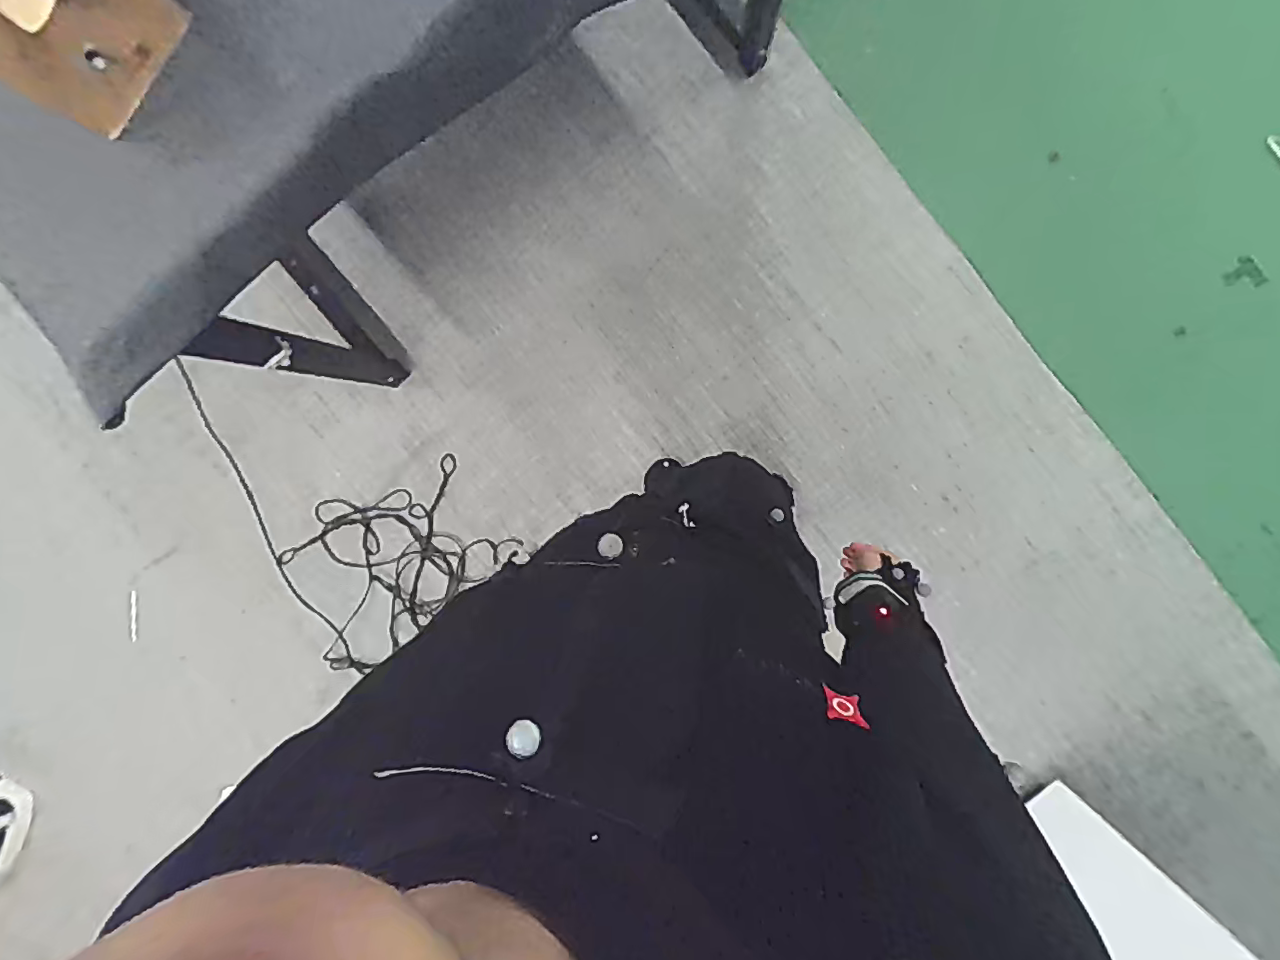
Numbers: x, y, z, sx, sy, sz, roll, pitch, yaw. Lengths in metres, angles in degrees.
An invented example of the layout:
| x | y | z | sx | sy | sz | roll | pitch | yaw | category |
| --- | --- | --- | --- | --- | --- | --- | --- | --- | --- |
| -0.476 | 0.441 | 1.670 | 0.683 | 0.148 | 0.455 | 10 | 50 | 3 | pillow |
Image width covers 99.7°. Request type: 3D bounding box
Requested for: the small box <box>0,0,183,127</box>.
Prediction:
| x | y | z | sx | sy | sz | roll | pitch | yaw | category |
| --- | --- | --- | --- | --- | --- | --- | --- | --- | --- |
| -0.613 | -0.492 | 0.517 | 0.179 | 0.176 | 0.168 | 39 | 95 | -1 | small box |
